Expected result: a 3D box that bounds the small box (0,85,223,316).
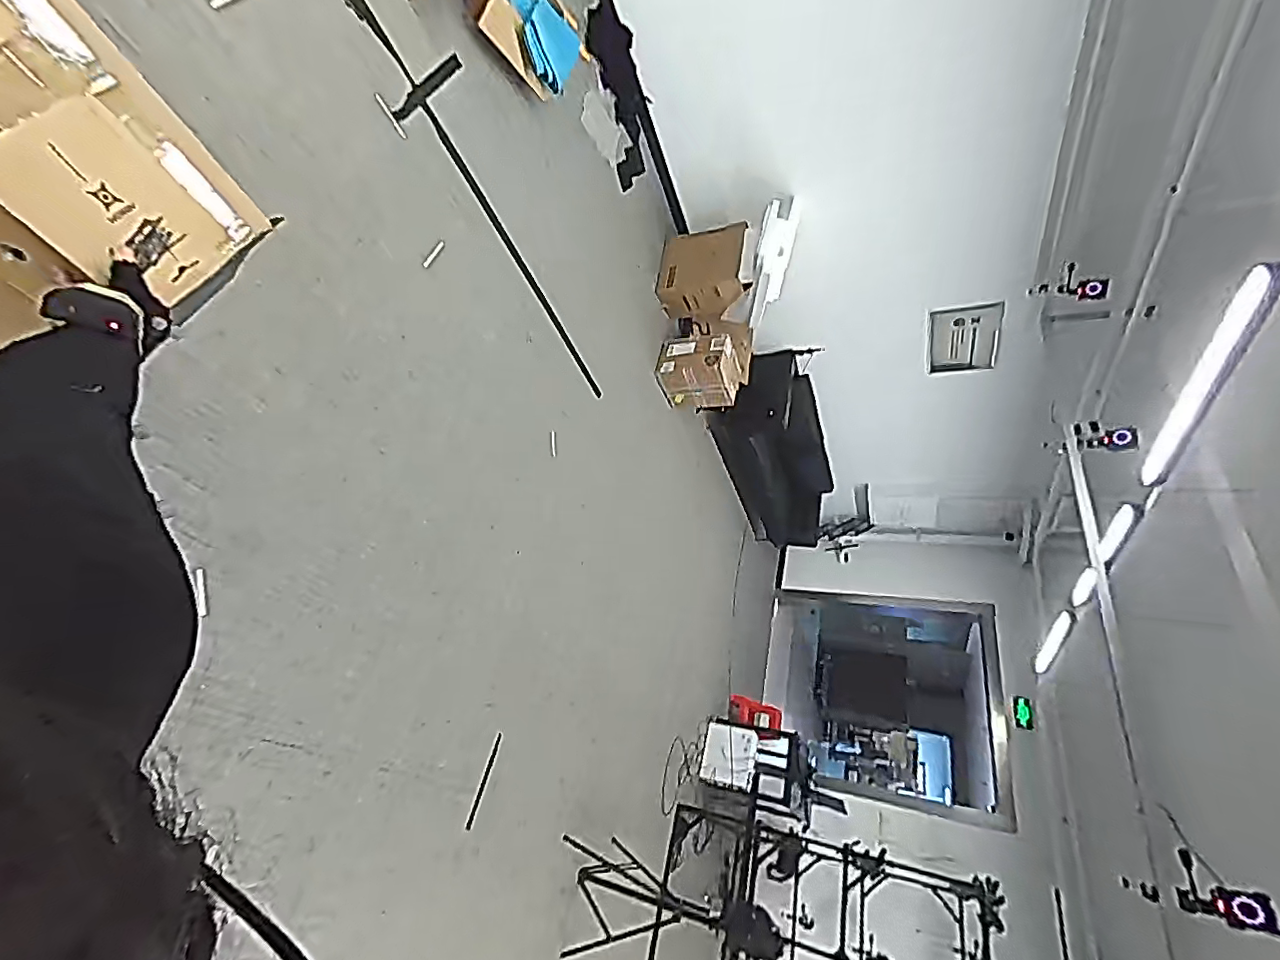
[{"bbox_3d":[-0.662,-0.310,0.632,0.179,0.176,0.168,59,39,-44],"label":"small box"}]
